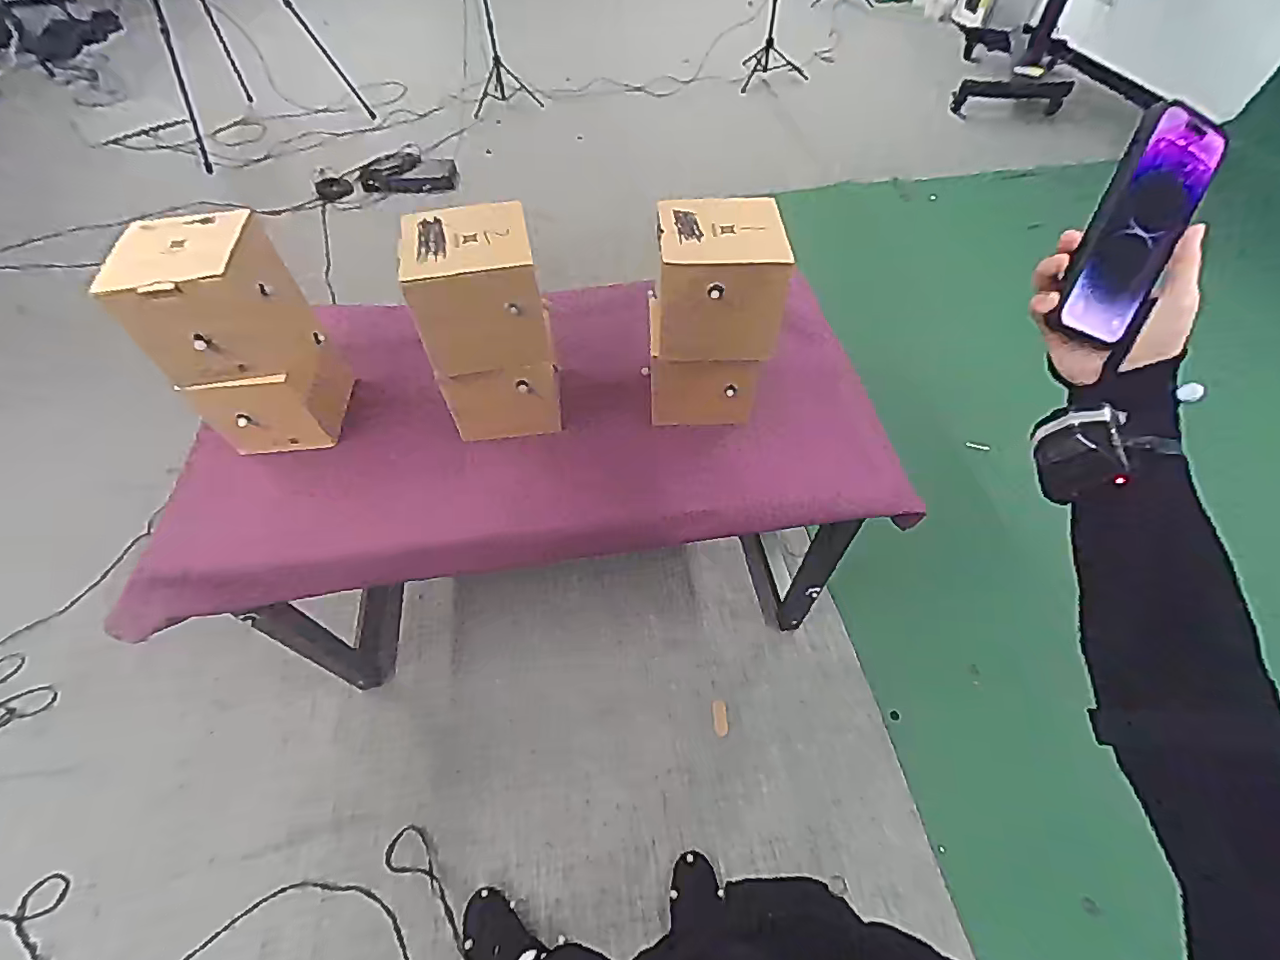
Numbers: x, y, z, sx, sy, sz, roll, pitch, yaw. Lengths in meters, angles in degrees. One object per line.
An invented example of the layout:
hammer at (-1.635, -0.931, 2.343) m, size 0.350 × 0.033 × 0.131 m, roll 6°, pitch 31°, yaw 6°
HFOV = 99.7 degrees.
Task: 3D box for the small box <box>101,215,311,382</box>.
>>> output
small box at (-0.625, -0.264, 0.811) m, size 0.168 × 0.176 × 0.179 m, roll -9°, pitch 55°, yaw -6°

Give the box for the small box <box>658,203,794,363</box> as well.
small box at (0.116, -0.291, 0.812) m, size 0.179 × 0.176 × 0.168 m, roll -1°, pitch 54°, yaw 0°

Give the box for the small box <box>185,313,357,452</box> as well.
small box at (-0.621, -0.161, 0.939) m, size 0.168 × 0.176 × 0.179 m, roll -5°, pitch 54°, yaw -2°

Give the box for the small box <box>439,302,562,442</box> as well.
small box at (-0.231, -0.185, 0.944) m, size 0.179 × 0.176 × 0.168 m, roll -6°, pitch 54°, yaw -3°

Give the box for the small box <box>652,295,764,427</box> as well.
small box at (0.110, -0.207, 0.953) m, size 0.179 × 0.176 × 0.168 m, roll -1°, pitch 54°, yaw 2°
